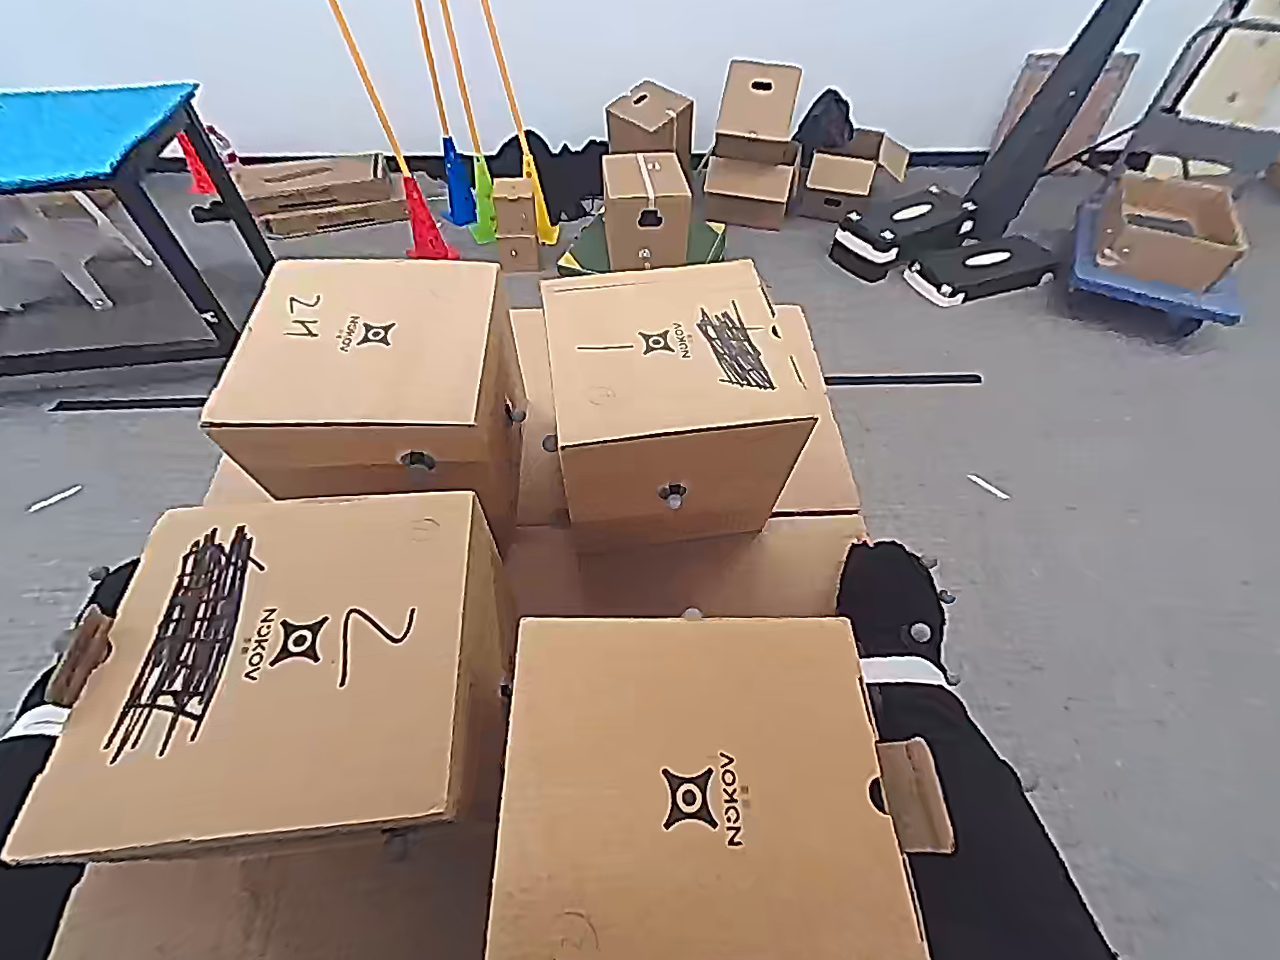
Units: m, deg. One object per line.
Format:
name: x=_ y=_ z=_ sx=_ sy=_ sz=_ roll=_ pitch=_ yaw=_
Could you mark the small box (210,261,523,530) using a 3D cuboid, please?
small box: x=-0.204 y=-0.065 z=0.470 sx=0.179 sy=0.176 sz=0.168 roll=-1 pitch=58 yaw=-2
